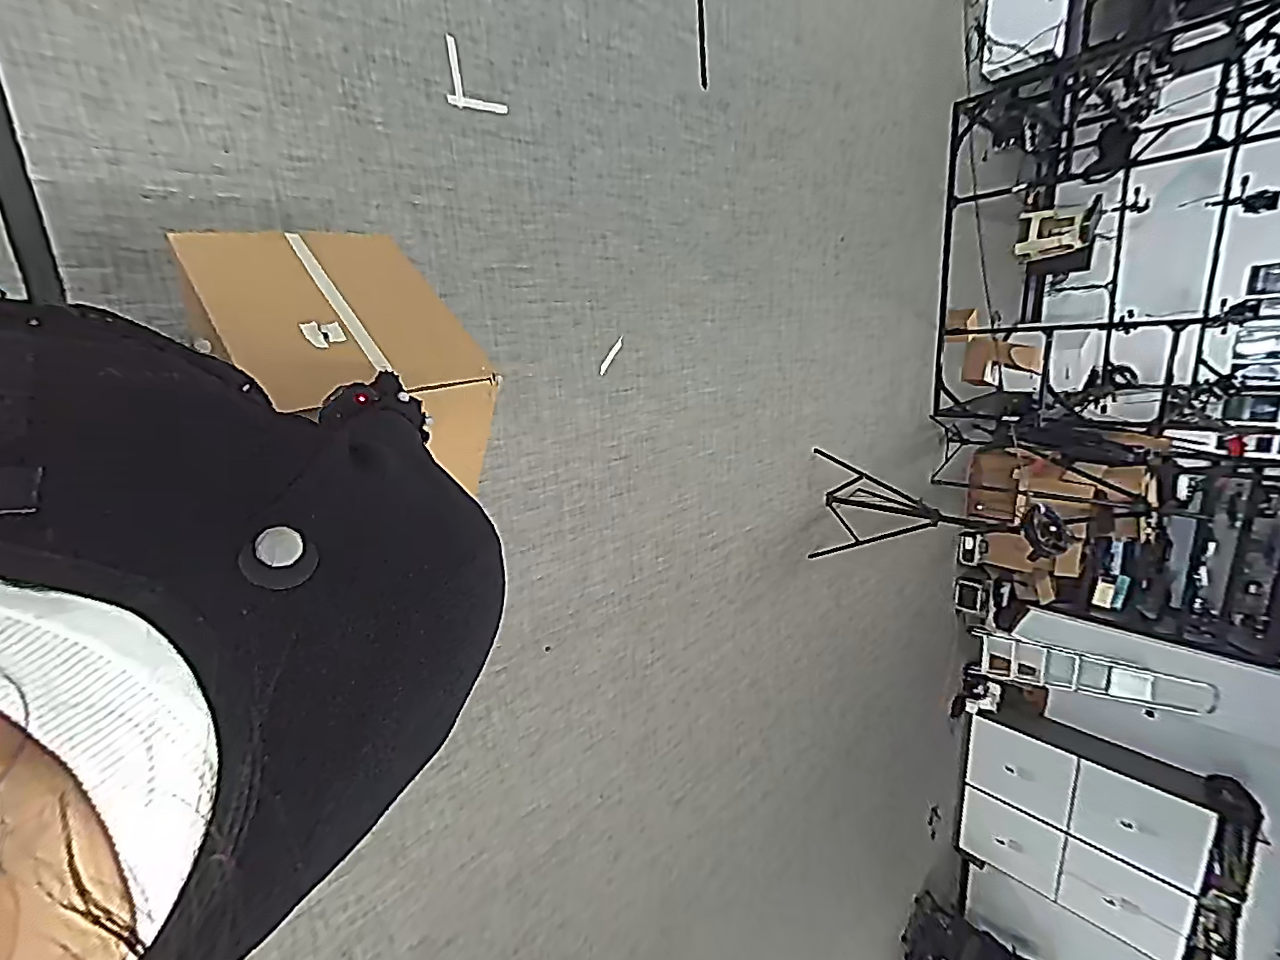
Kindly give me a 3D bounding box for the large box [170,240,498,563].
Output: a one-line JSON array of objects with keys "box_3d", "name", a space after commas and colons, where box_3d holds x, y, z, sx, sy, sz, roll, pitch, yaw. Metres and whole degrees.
[{"box_3d": [-0.500, -0.144, 0.898, 0.320, 0.408, 0.320, -21, 152, -40], "name": "large box"}]
